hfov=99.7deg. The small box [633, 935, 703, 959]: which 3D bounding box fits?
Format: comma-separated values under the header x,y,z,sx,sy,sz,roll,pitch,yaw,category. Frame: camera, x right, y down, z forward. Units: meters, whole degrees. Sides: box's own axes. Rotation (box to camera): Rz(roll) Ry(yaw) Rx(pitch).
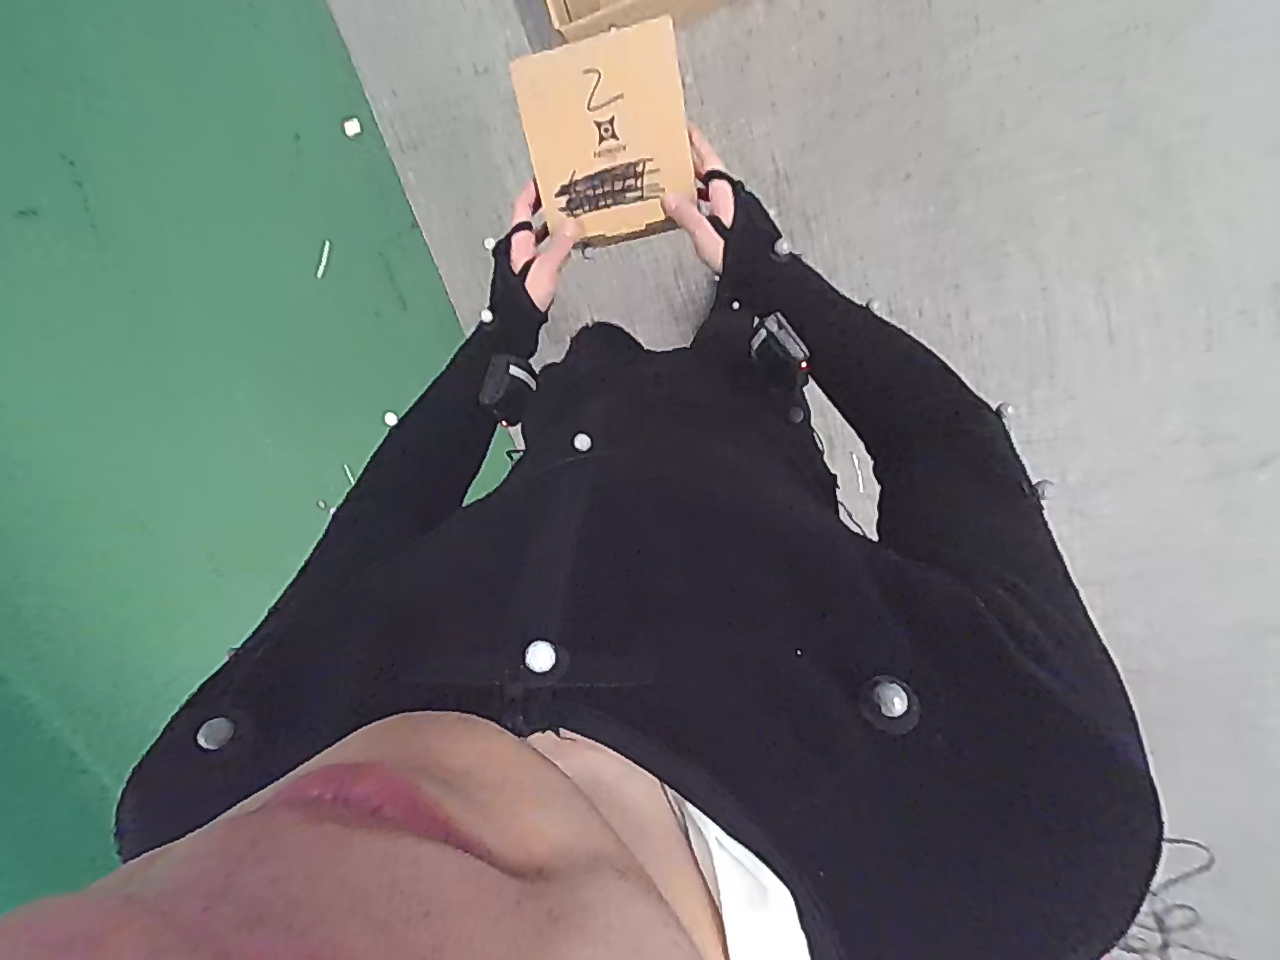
x,y,z,sx,sy,sz,roll,pitch,yaw,category
0.076,1.288,1.355,0.168,0.176,0.179,-13,111,15,small box
